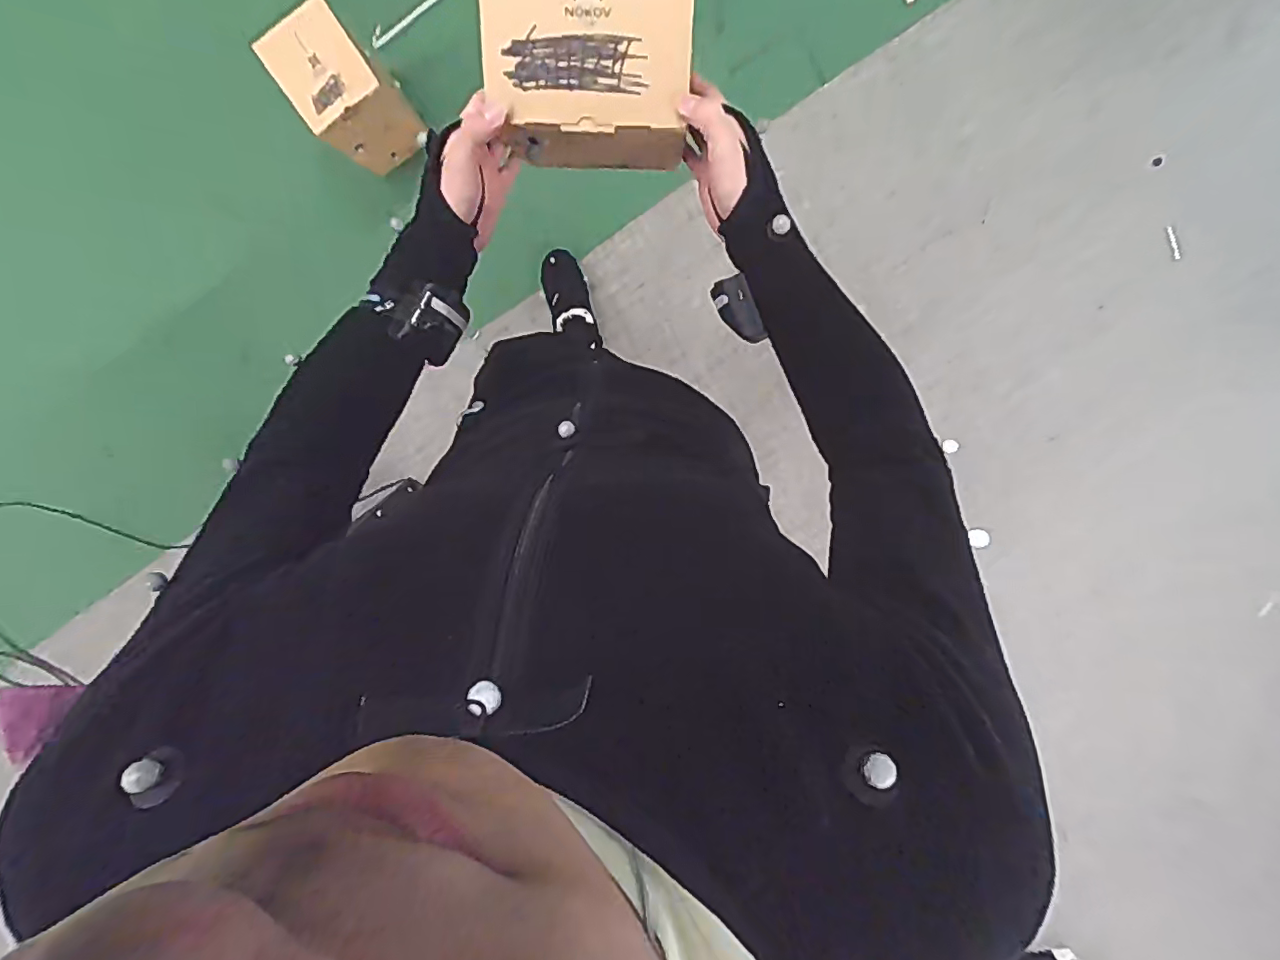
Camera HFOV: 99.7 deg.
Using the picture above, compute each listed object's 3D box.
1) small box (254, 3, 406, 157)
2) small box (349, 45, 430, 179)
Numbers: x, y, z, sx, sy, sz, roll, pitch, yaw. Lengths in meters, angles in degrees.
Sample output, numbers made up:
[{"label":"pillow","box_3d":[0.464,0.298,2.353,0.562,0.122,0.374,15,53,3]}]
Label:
[{"label":"small box","box_3d":[-0.617,-0.796,1.106,0.168,0.176,0.179,-33,106,6]},{"label":"small box","box_3d":[-0.628,-0.844,1.262,0.168,0.176,0.179,-33,107,6]}]
